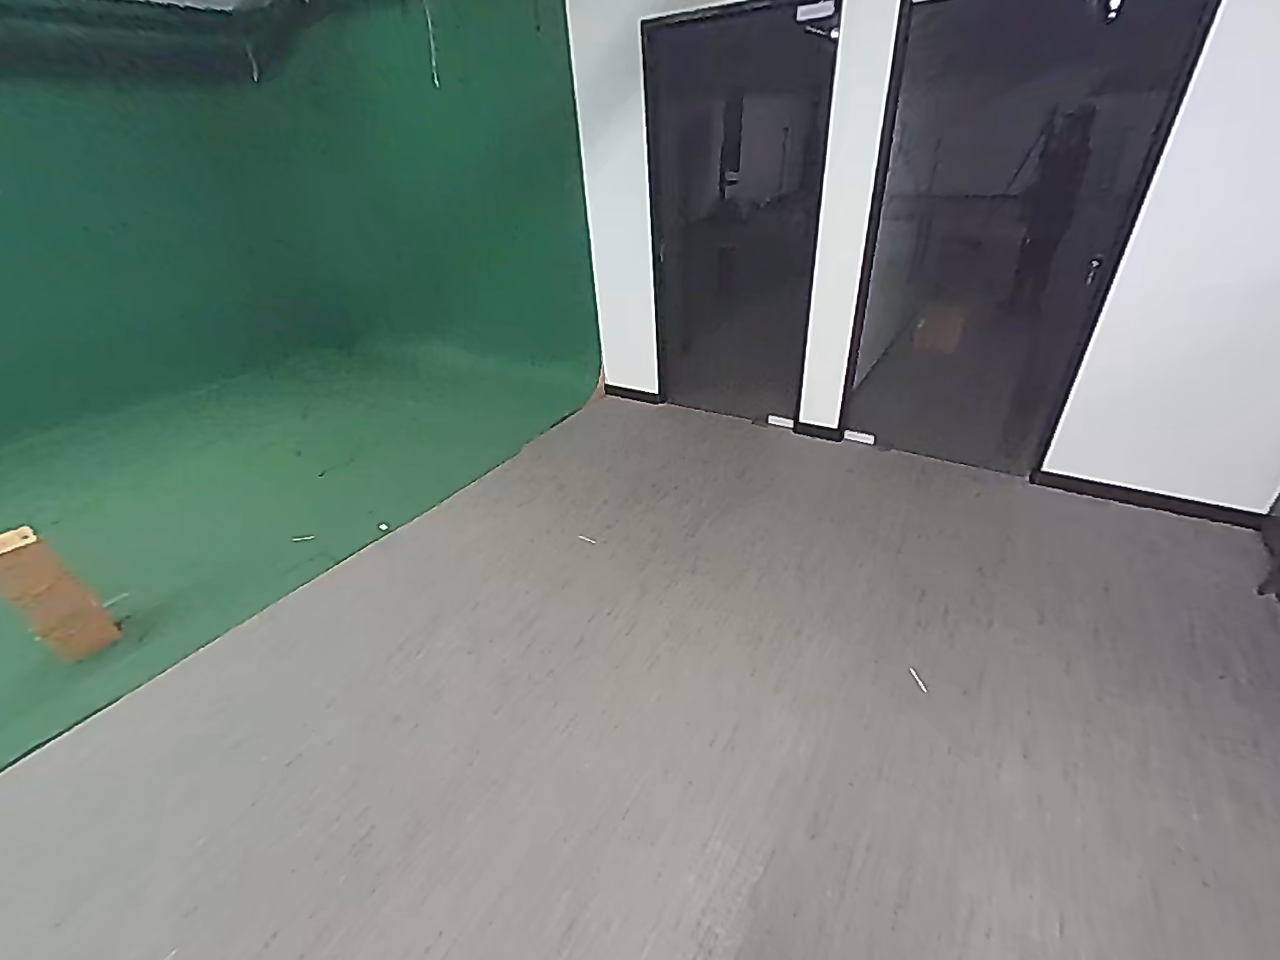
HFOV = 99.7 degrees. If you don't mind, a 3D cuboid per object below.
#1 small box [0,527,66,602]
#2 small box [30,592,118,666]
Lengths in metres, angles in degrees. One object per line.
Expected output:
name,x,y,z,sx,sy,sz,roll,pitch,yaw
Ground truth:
small box,-2.181,0.296,1.887,0.168,0.176,0.179,18,39,32
small box,-2.154,0.570,2.068,0.168,0.176,0.179,20,39,32
